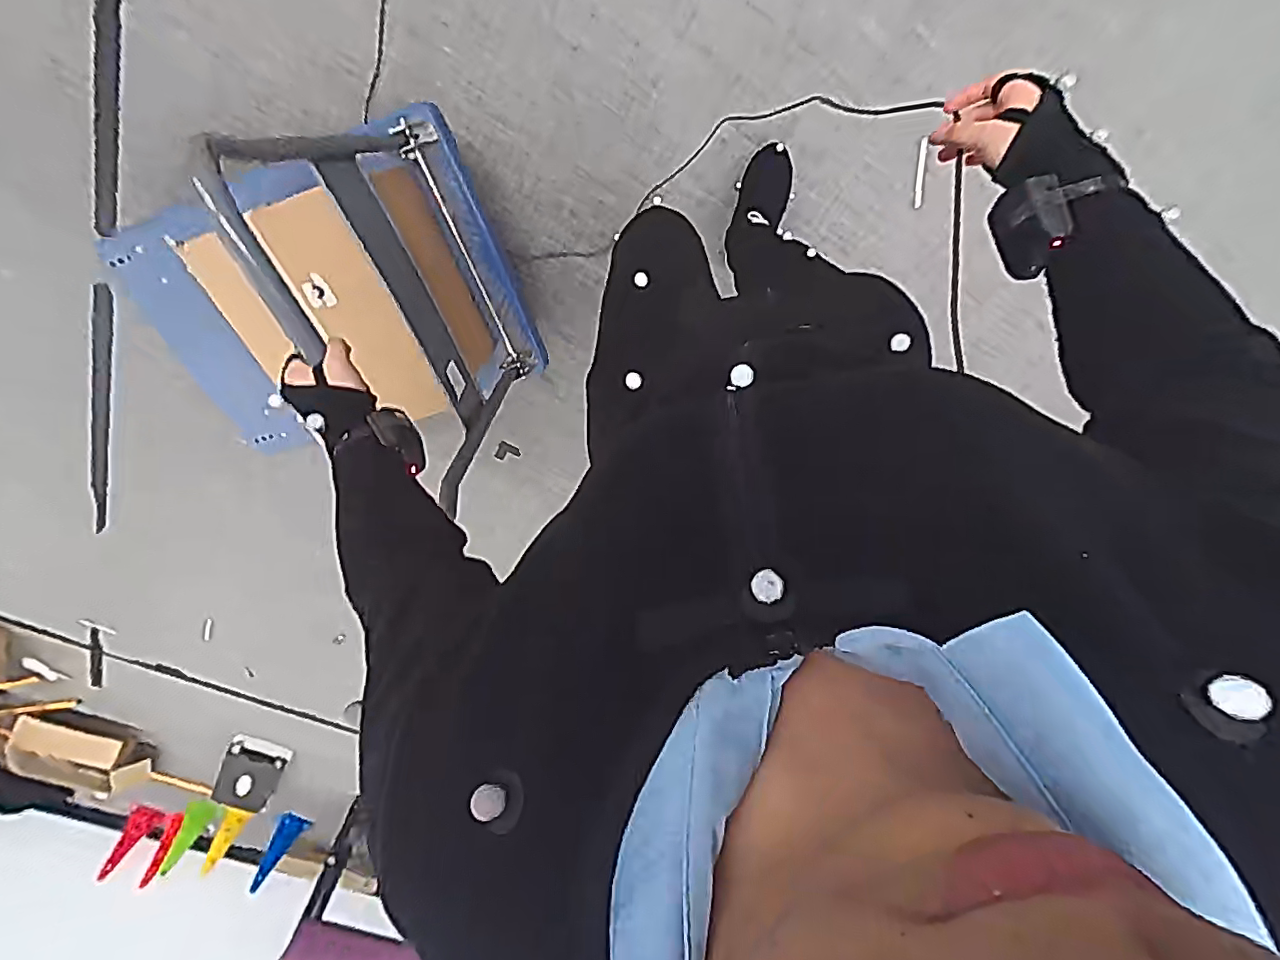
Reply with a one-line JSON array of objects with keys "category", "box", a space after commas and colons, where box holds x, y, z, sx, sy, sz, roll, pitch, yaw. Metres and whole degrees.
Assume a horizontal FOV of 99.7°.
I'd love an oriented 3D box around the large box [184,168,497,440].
[{"category": "large box", "box": [-0.548, -0.352, 1.091, 0.320, 0.320, 0.408, -13, 122, 12]}]
